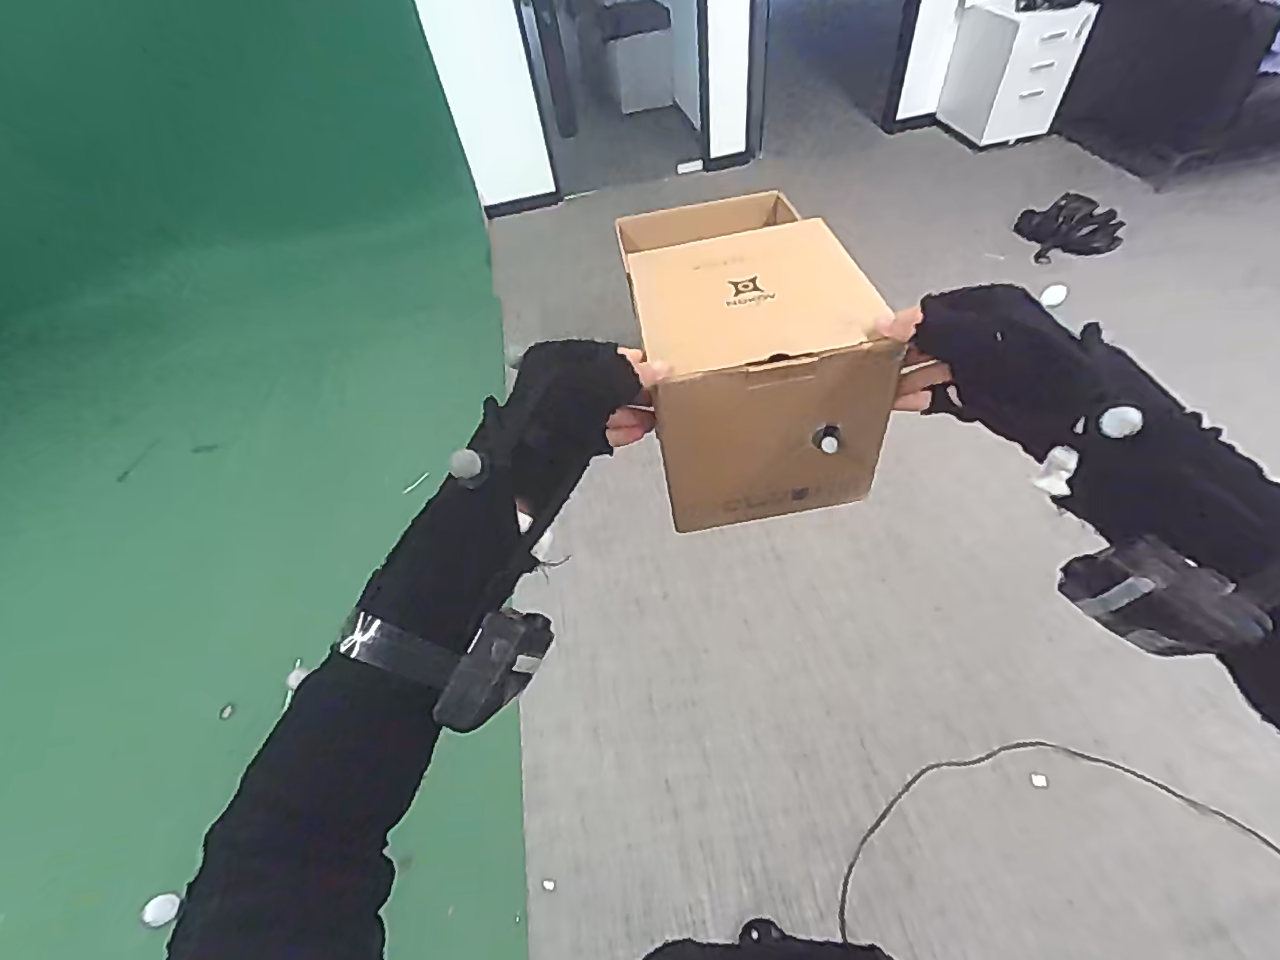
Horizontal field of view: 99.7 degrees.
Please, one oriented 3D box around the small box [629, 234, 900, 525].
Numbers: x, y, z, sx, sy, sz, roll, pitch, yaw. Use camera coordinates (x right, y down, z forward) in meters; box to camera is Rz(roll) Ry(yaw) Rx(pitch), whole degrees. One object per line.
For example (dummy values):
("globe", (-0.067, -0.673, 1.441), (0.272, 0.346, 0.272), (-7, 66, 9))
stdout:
("small box", (0.091, -0.077, 0.460), (0.168, 0.176, 0.179), (-10, 46, 1))
